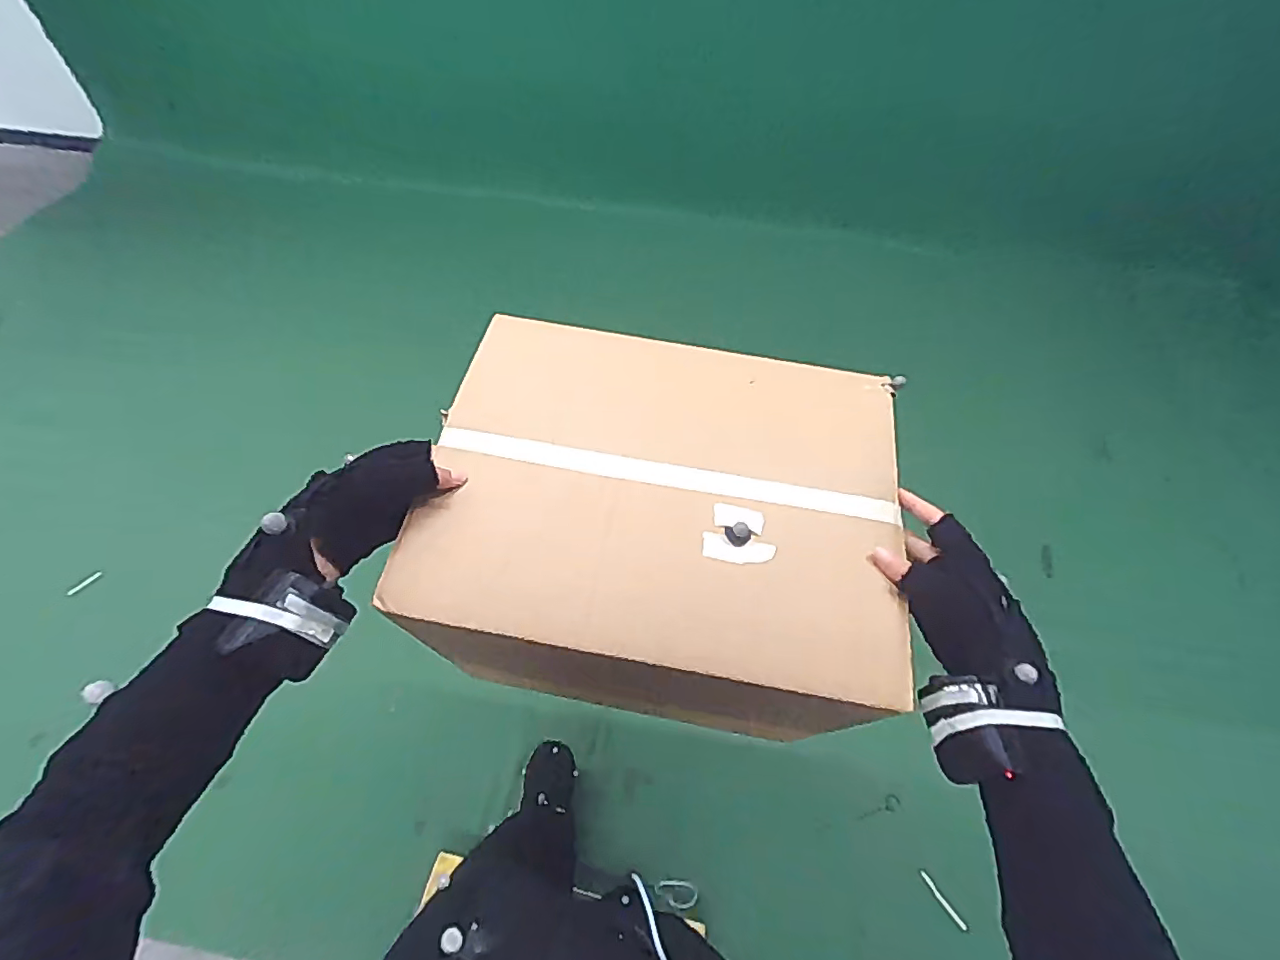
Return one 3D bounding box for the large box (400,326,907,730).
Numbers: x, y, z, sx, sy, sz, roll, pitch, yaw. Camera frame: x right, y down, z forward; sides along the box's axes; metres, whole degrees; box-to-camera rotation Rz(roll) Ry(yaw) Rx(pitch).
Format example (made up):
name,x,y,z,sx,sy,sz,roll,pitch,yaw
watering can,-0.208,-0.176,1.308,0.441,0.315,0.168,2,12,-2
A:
name,x,y,z,sx,sy,sz,roll,pitch,yaw
large box,0.020,0.072,0.614,0.408,0.320,0.320,10,61,2
